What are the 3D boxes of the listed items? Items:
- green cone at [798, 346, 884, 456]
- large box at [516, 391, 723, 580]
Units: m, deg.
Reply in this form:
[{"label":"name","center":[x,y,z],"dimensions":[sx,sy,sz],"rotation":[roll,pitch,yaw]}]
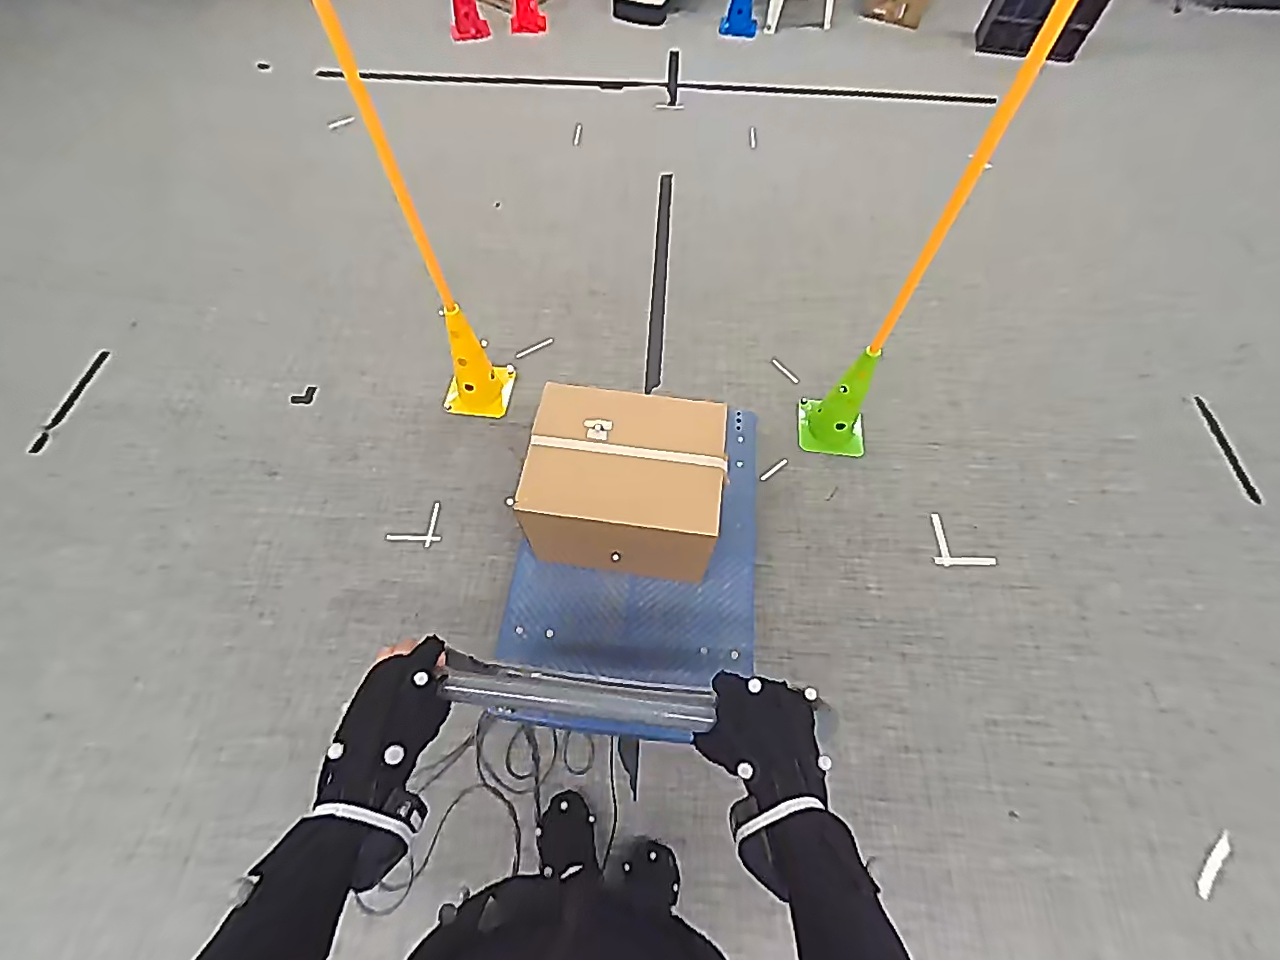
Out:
[{"label":"green cone","center":[0.613,-0.251,1.581],"dimensions":[0.202,0.368,0.200],"rotation":[7,62,2]},{"label":"large box","center":[-0.031,0.024,1.259],"dimensions":[0.408,0.320,0.320],"rotation":[7,62,4]}]
